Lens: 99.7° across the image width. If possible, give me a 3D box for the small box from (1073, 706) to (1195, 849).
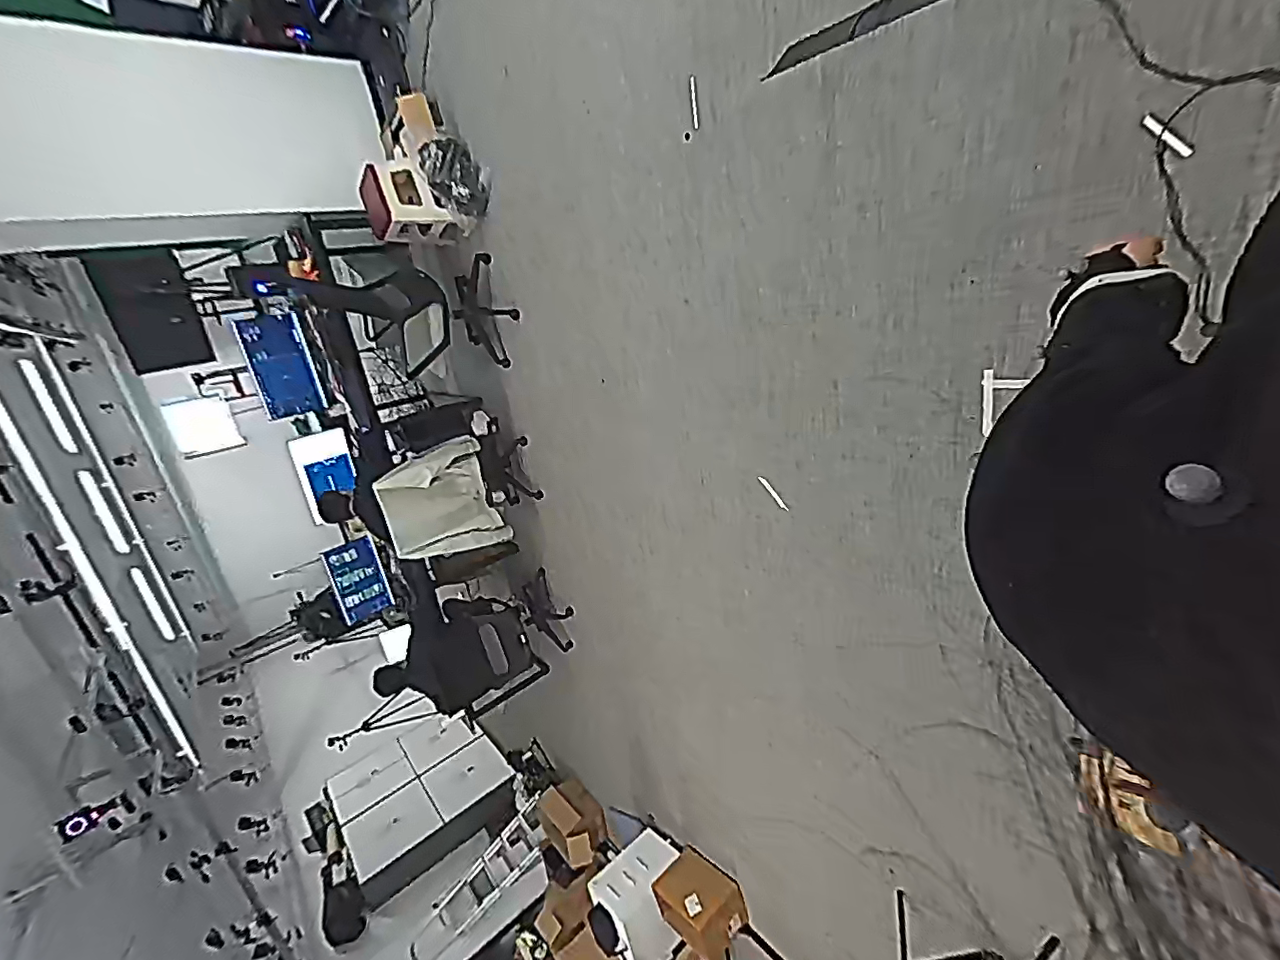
[{"bbox_3d":[1.072,0.631,1.175,0.168,0.176,0.179,11,118,51],"label":"small box"}]
